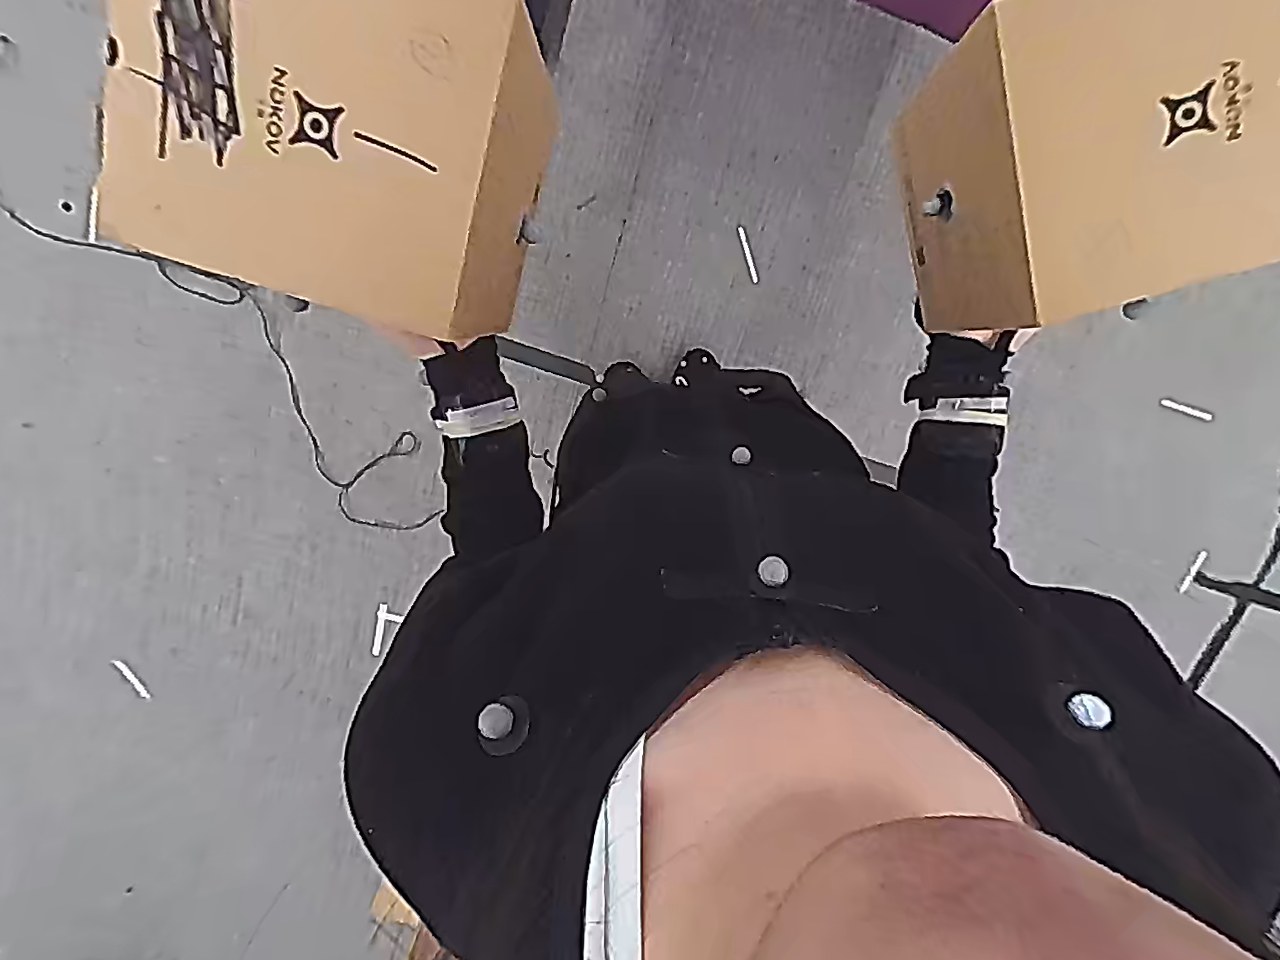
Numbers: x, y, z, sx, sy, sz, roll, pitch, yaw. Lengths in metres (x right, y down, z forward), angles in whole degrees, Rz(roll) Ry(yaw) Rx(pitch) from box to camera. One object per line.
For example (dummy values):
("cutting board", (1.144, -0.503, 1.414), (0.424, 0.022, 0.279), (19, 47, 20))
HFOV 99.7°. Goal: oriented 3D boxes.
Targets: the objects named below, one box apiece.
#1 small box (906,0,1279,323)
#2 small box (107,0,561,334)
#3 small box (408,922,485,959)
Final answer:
("small box", (0.291, -0.205, 0.346), (0.179, 0.176, 0.168), (-15, 102, 10))
("small box", (-0.158, -0.196, 0.330), (0.179, 0.176, 0.168), (16, 106, -8))
("small box", (-0.469, 1.171, 1.236), (0.168, 0.176, 0.179), (22, 102, -5))
